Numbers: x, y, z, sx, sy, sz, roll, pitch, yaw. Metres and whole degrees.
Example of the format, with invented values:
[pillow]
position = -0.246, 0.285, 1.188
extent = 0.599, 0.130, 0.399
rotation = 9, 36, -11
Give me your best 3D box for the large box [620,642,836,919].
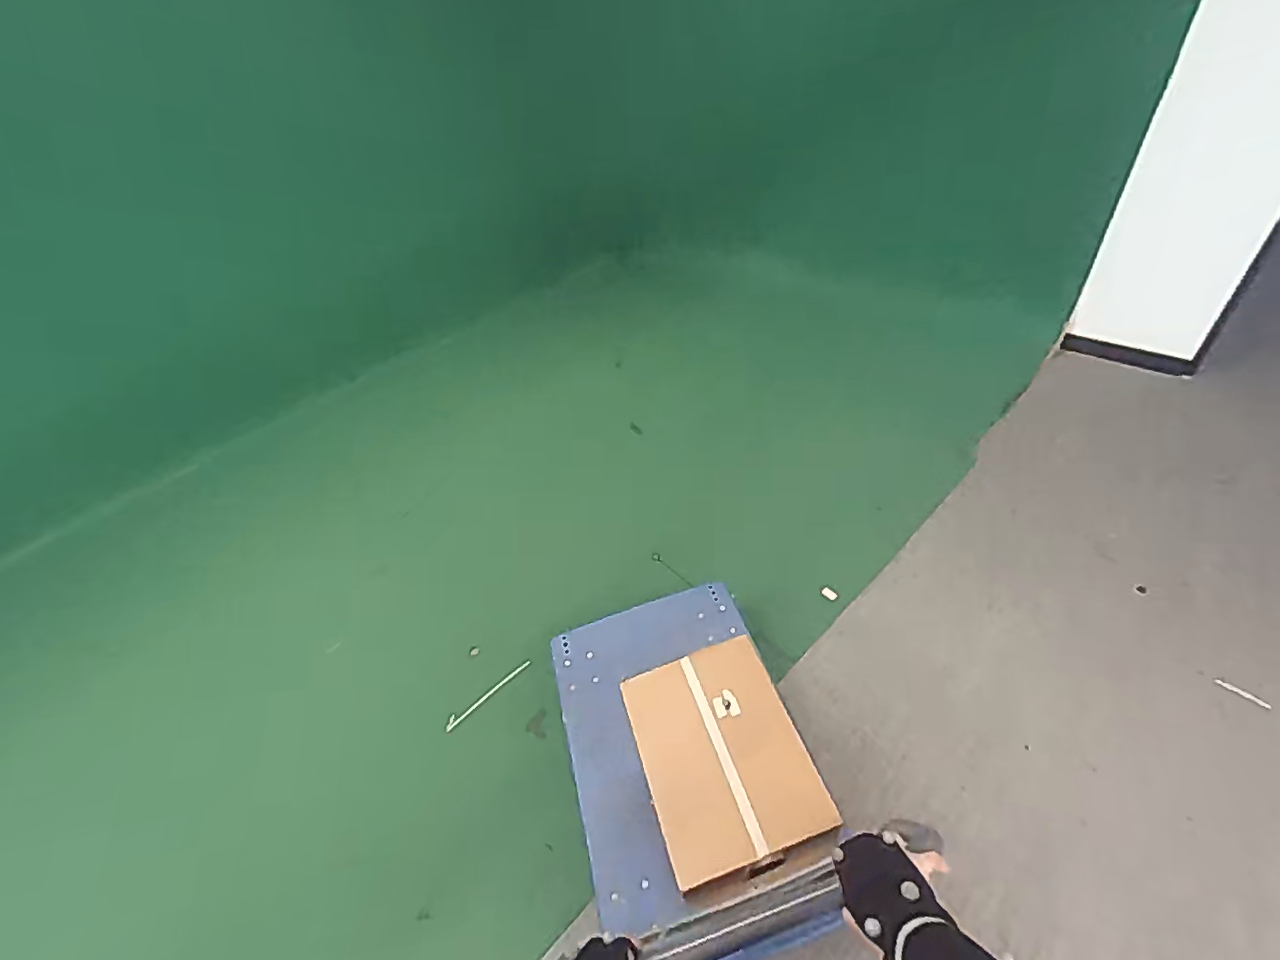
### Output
[large box]
position = 0.183, 0.655, 1.202
extent = 0.320, 0.320, 0.408
rotation = -18, 43, -6
